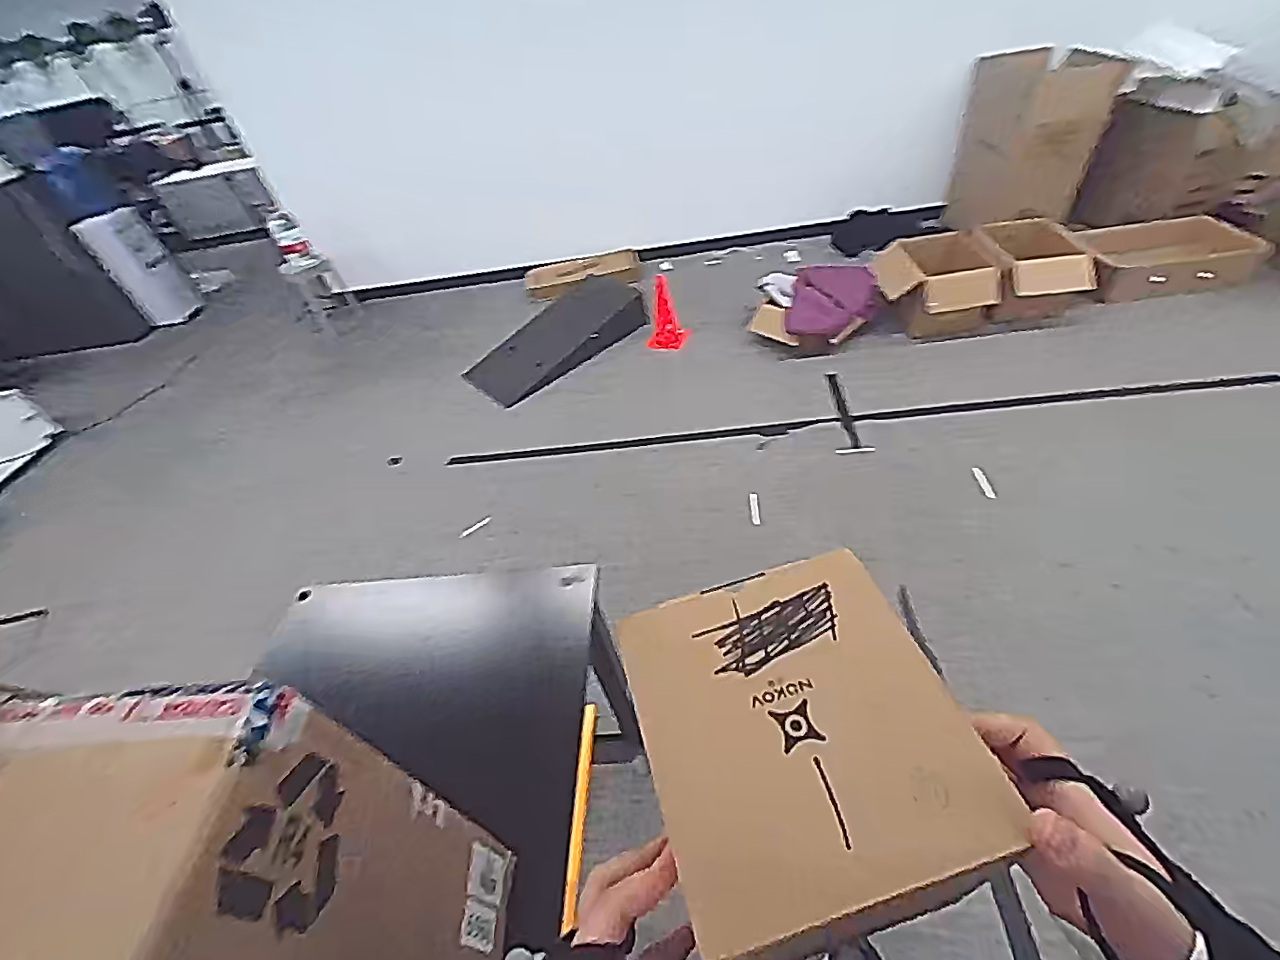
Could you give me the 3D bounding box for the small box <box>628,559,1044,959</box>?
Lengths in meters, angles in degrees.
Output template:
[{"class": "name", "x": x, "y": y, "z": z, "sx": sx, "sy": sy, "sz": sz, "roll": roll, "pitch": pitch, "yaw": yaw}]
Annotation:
[{"class": "small box", "x": 0.099, "y": 0.186, "z": 0.354, "sx": 0.168, "sy": 0.176, "sz": 0.179, "roll": -16, "pitch": 44, "yaw": -3}]
